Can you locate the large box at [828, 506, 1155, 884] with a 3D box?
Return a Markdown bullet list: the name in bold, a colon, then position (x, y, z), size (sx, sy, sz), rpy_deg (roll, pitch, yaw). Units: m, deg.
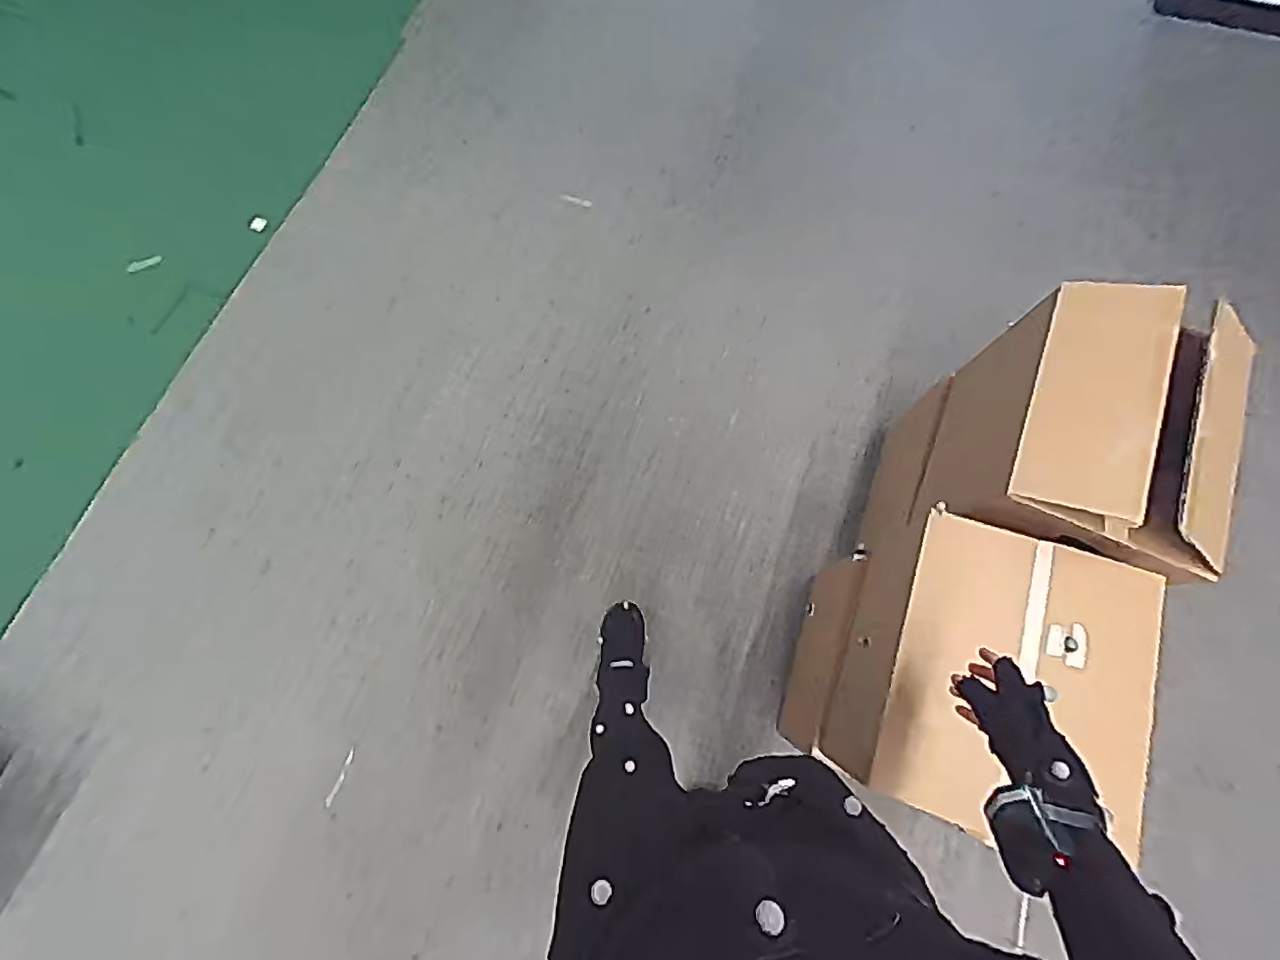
- **large box**: position (0.520, 0.308, 0.859), size (0.320, 0.320, 0.408), rpy_deg (17, 73, 12)
